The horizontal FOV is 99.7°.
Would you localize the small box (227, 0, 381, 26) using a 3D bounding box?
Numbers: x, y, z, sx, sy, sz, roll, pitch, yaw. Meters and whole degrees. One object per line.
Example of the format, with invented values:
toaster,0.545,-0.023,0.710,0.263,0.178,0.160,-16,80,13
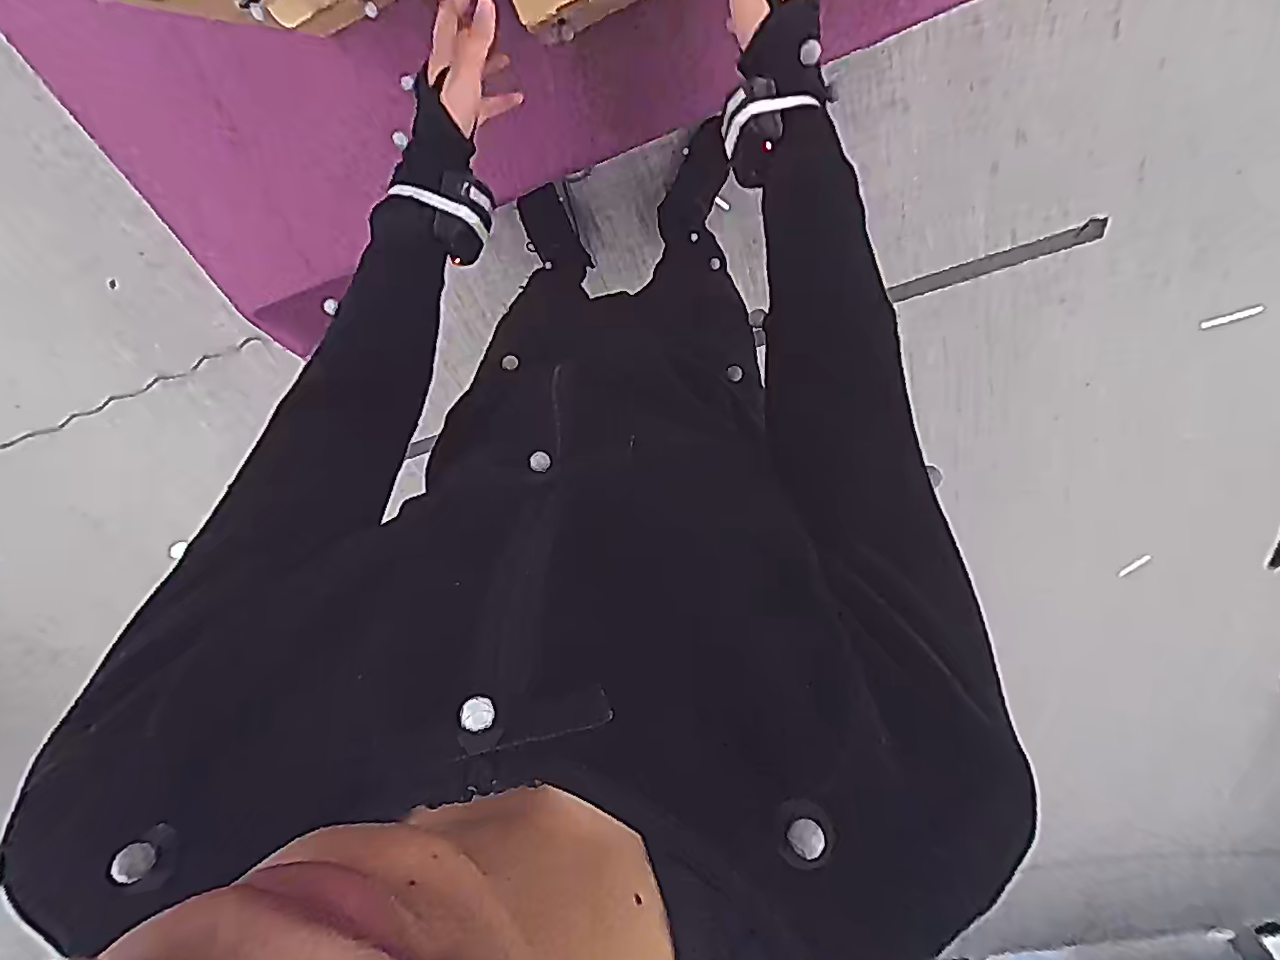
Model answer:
small box,-0.298,-0.531,0.461,0.168,0.176,0.179,-17,125,12
